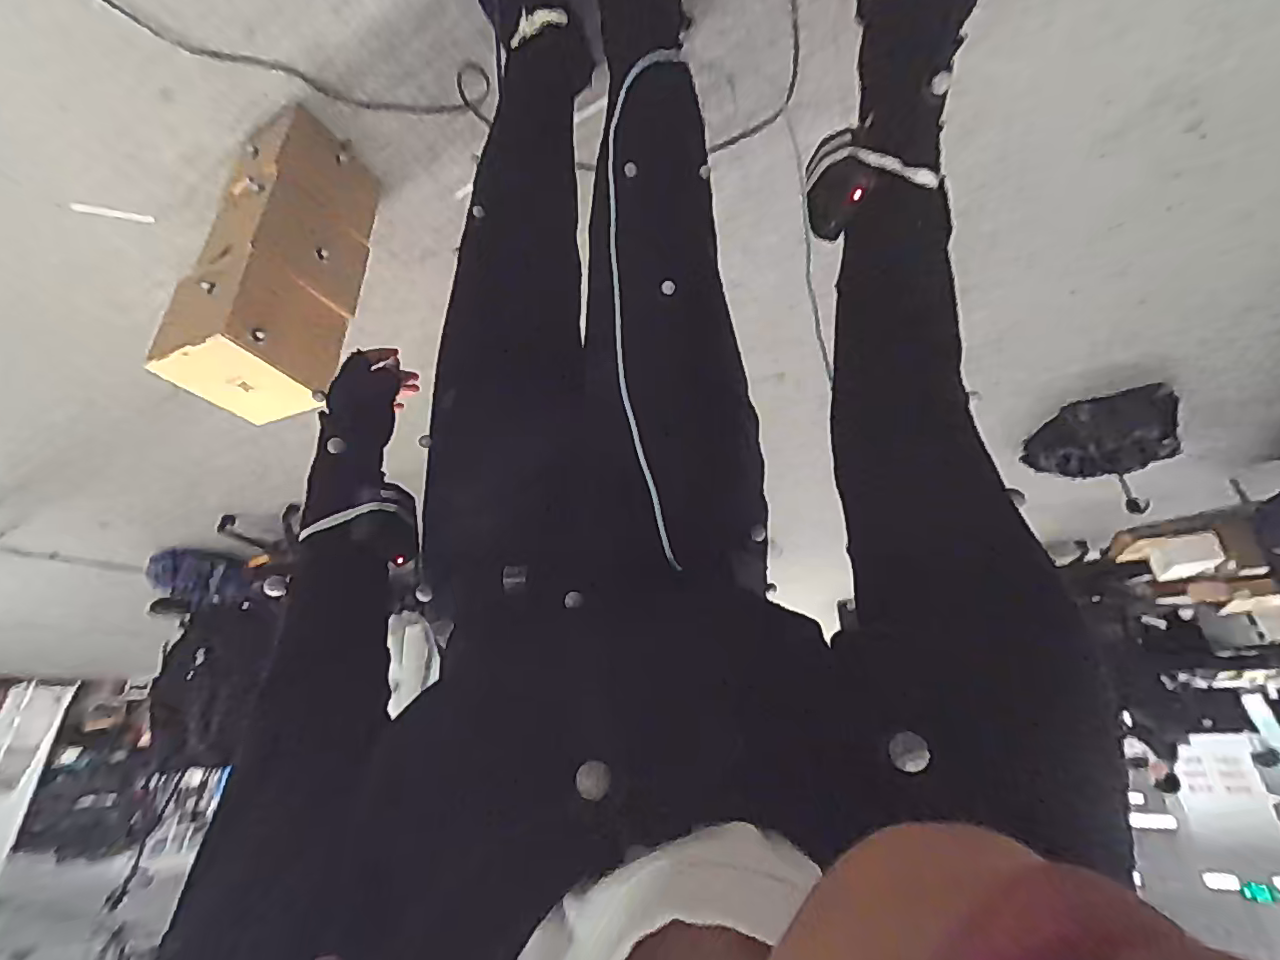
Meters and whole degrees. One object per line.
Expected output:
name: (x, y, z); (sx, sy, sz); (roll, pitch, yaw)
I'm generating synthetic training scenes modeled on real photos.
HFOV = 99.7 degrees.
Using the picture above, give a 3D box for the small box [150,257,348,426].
small box: (-0.600, -0.213, 0.856); (0.168, 0.176, 0.179); (-11, 152, 18)

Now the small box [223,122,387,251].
small box: (-0.603, -0.512, 0.993); (0.168, 0.176, 0.179); (-13, 151, 27)

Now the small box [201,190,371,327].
small box: (-0.598, -0.360, 0.925); (0.168, 0.176, 0.179); (-14, 153, 22)
